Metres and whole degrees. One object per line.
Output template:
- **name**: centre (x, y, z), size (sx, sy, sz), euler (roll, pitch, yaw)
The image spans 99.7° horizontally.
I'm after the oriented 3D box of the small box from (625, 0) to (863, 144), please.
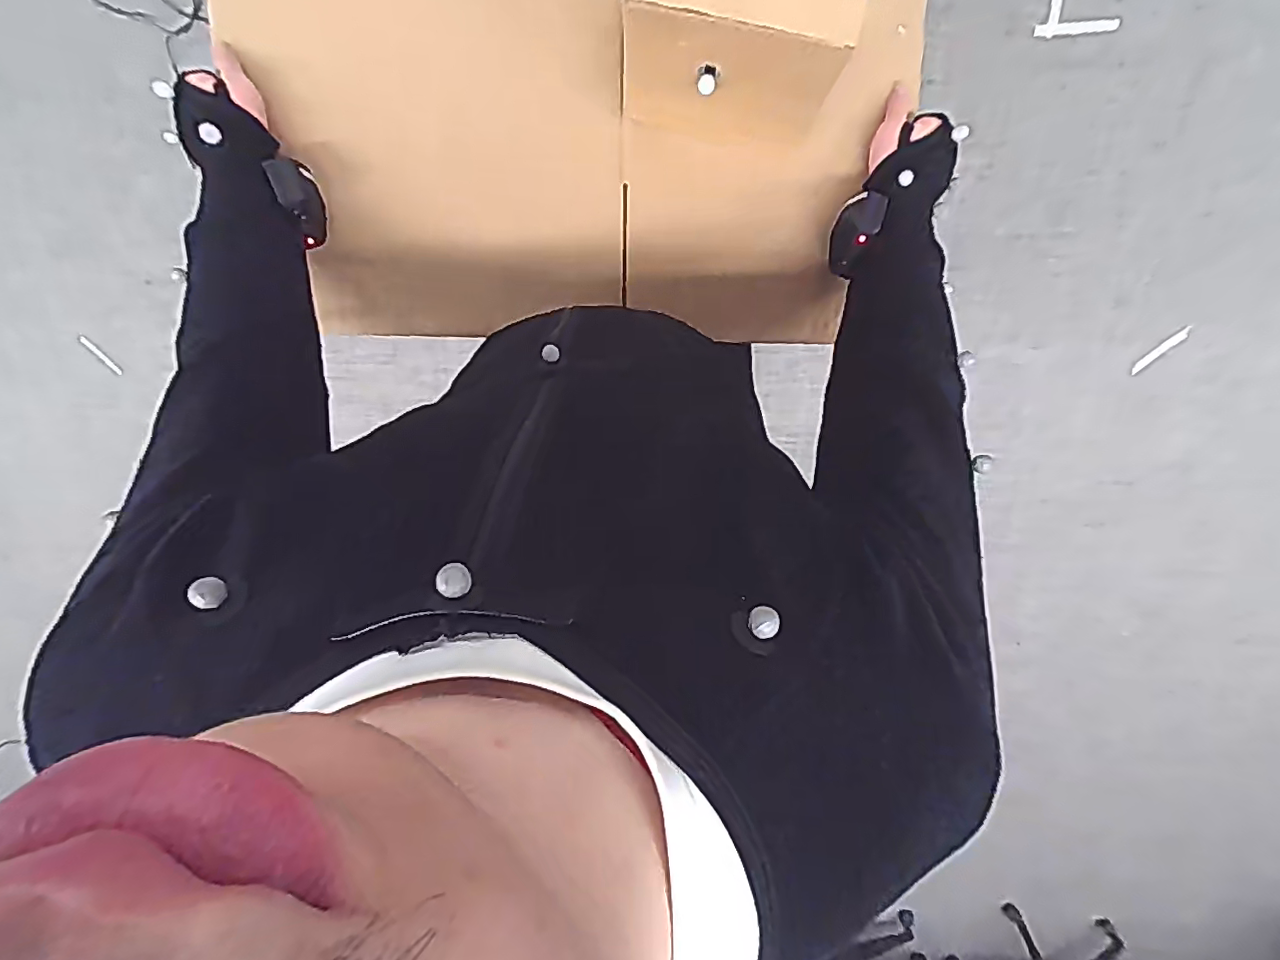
- **small box**: centre (0.090, -0.424, 0.468), size (0.179, 0.176, 0.168), euler (10, 98, -1)
